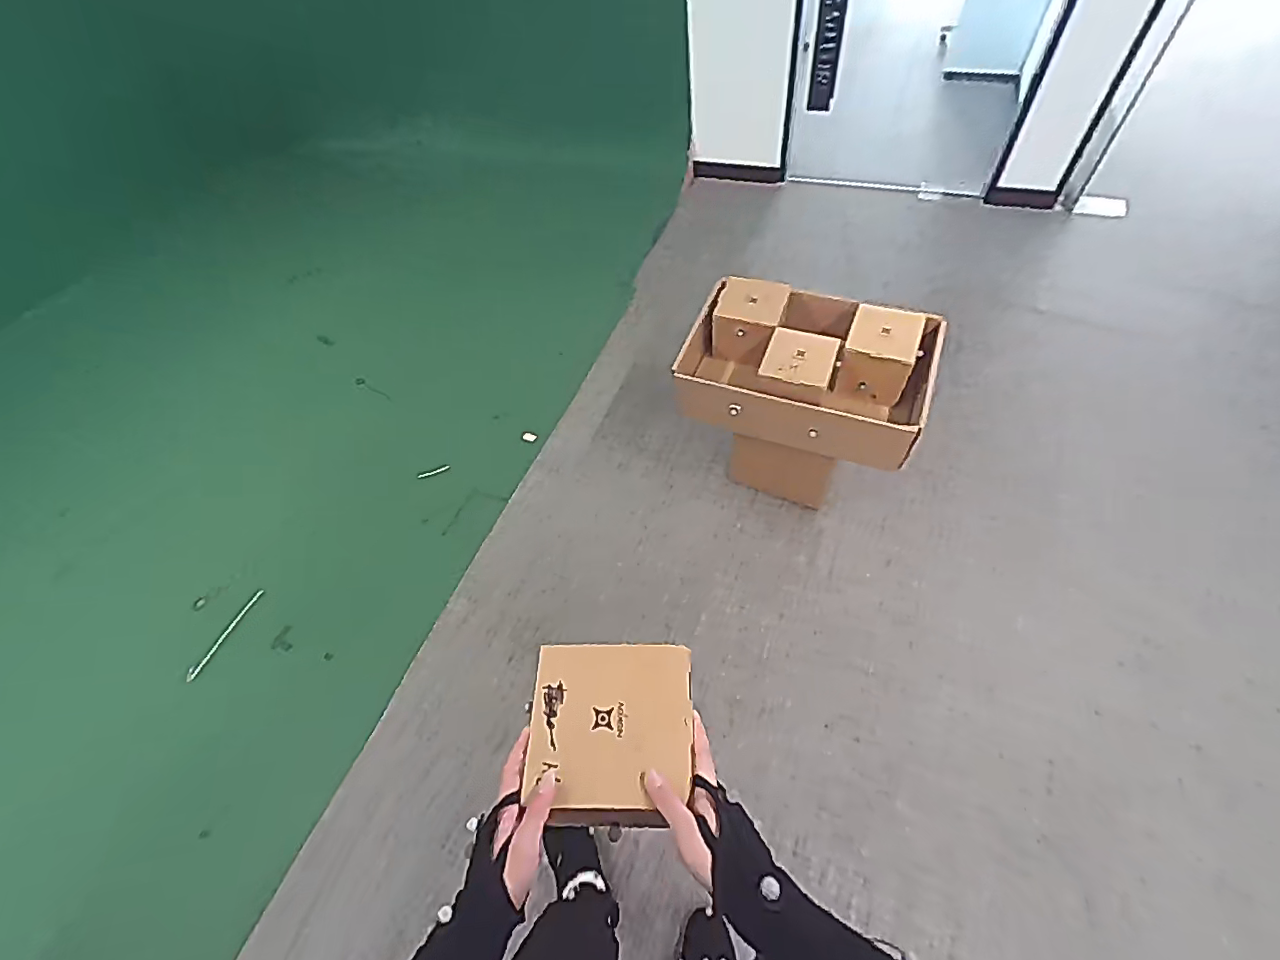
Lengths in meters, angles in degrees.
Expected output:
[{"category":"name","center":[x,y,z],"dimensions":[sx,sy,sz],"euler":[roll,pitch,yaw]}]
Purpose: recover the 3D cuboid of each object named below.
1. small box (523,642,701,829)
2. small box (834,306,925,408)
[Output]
[{"category":"small box","center":[-0.024,0.304,0.639],"dimensions":[0.179,0.176,0.168],"euler":[1,52,2]},{"category":"small box","center":[0.621,-0.321,1.417],"dimensions":[0.168,0.176,0.179],"euler":[18,62,18]}]
